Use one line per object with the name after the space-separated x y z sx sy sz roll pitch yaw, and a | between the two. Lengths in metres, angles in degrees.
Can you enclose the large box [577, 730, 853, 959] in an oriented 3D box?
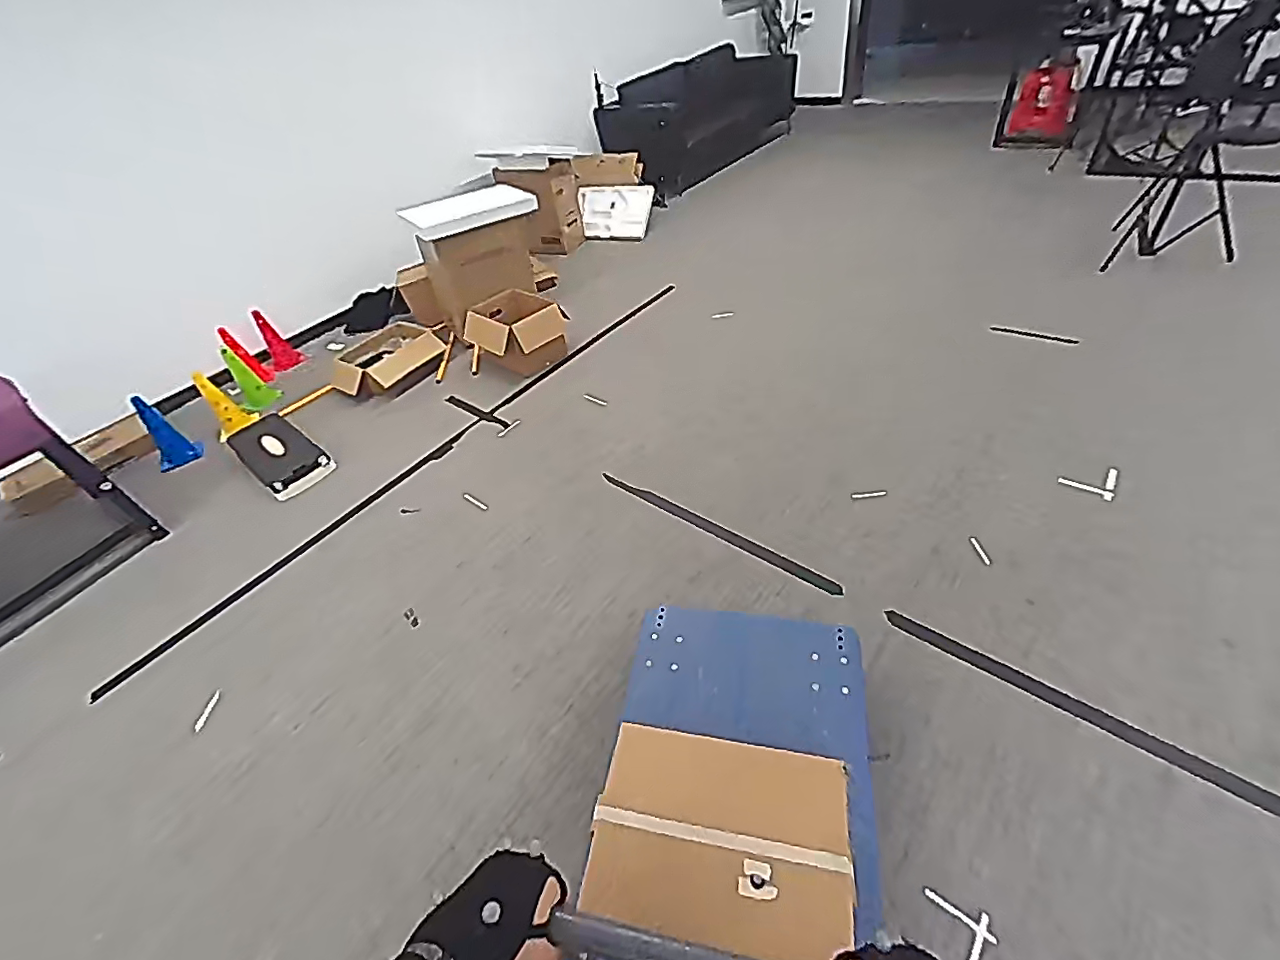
0.141 0.694 0.968 0.408 0.320 0.320 4 45 14 | large box
